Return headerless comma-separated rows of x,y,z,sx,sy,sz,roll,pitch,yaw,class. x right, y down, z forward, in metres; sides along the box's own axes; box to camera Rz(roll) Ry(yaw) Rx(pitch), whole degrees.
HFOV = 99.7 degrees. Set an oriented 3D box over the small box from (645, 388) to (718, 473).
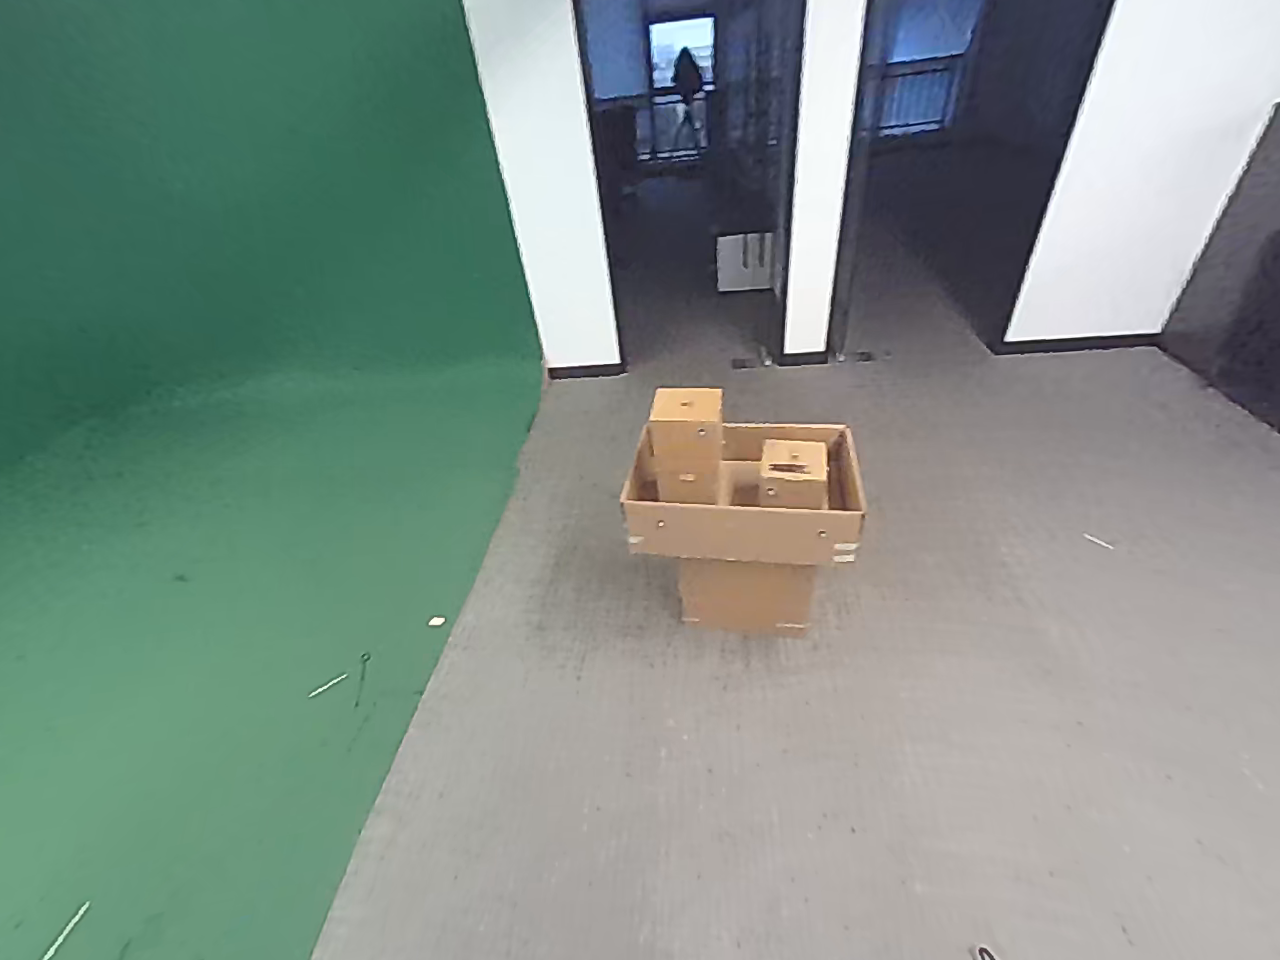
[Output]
0.117,-0.133,1.454,0.179,0.176,0.168,3,39,9,small box
